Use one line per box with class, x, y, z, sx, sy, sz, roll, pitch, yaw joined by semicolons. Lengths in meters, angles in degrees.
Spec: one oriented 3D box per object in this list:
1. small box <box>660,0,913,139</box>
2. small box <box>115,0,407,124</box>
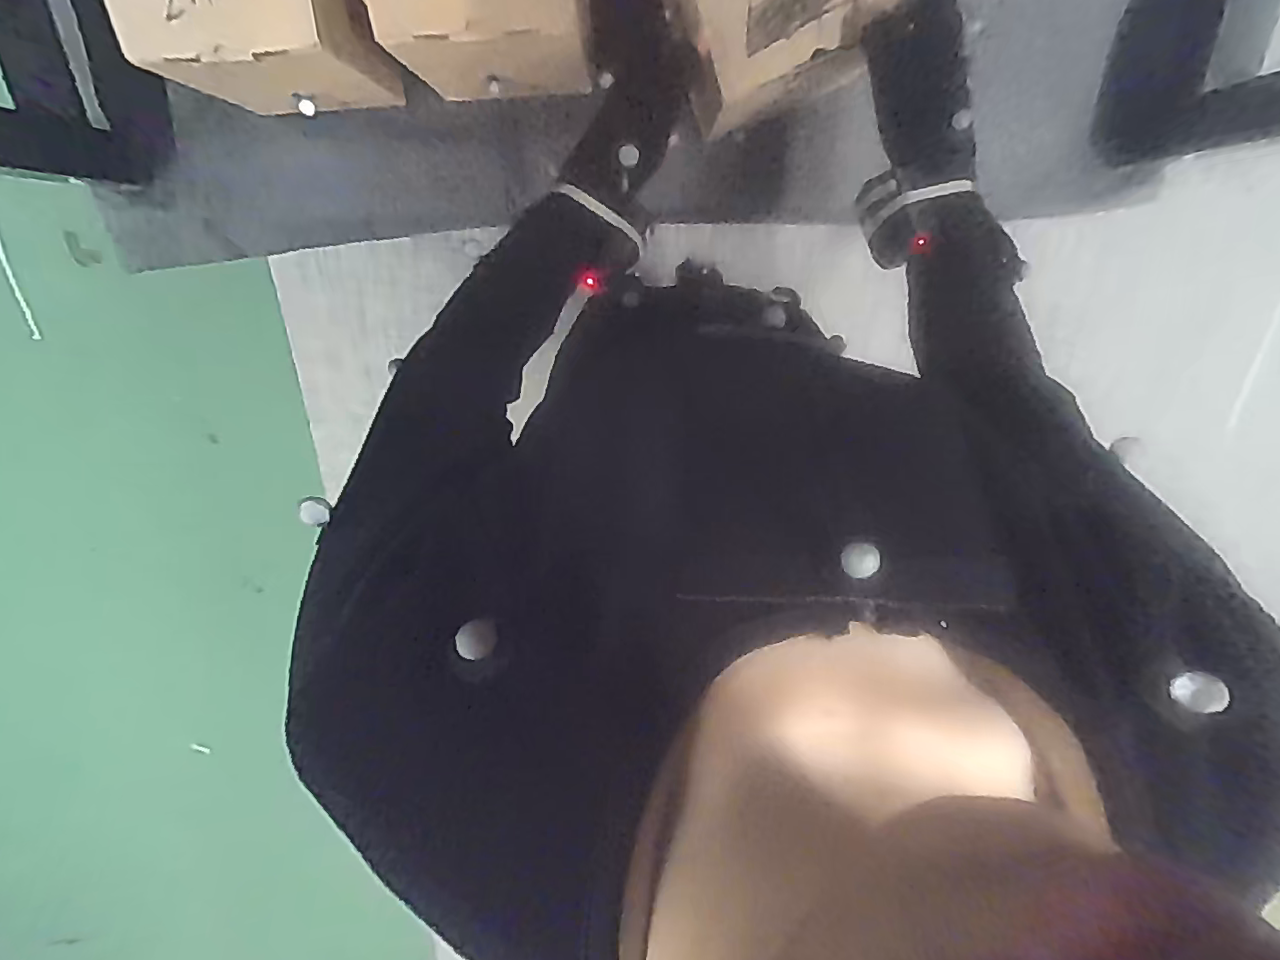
small box;0.115;-0.439;0.489;0.168;0.176;0.179;-20;108;9
small box;-0.337;-0.450;0.491;0.168;0.176;0.179;-3;111;2
